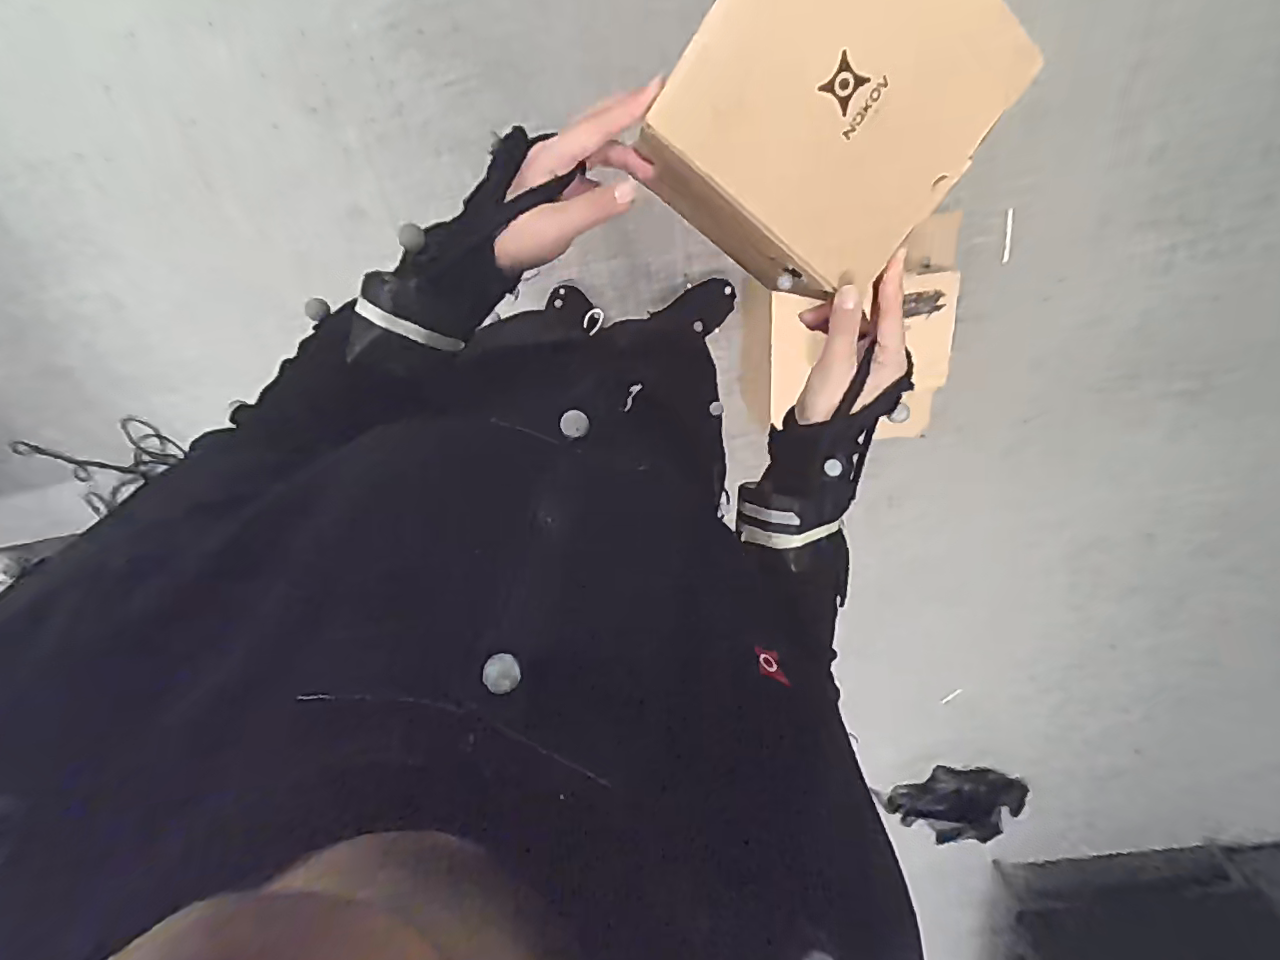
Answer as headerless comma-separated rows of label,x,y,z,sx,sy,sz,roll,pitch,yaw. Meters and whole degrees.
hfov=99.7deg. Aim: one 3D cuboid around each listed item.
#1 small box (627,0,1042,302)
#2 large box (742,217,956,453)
small box,0.106,-0.248,0.376,0.179,0.176,0.168,30,107,-19
large box,0.397,-0.311,1.125,0.320,0.320,0.408,-5,117,3
